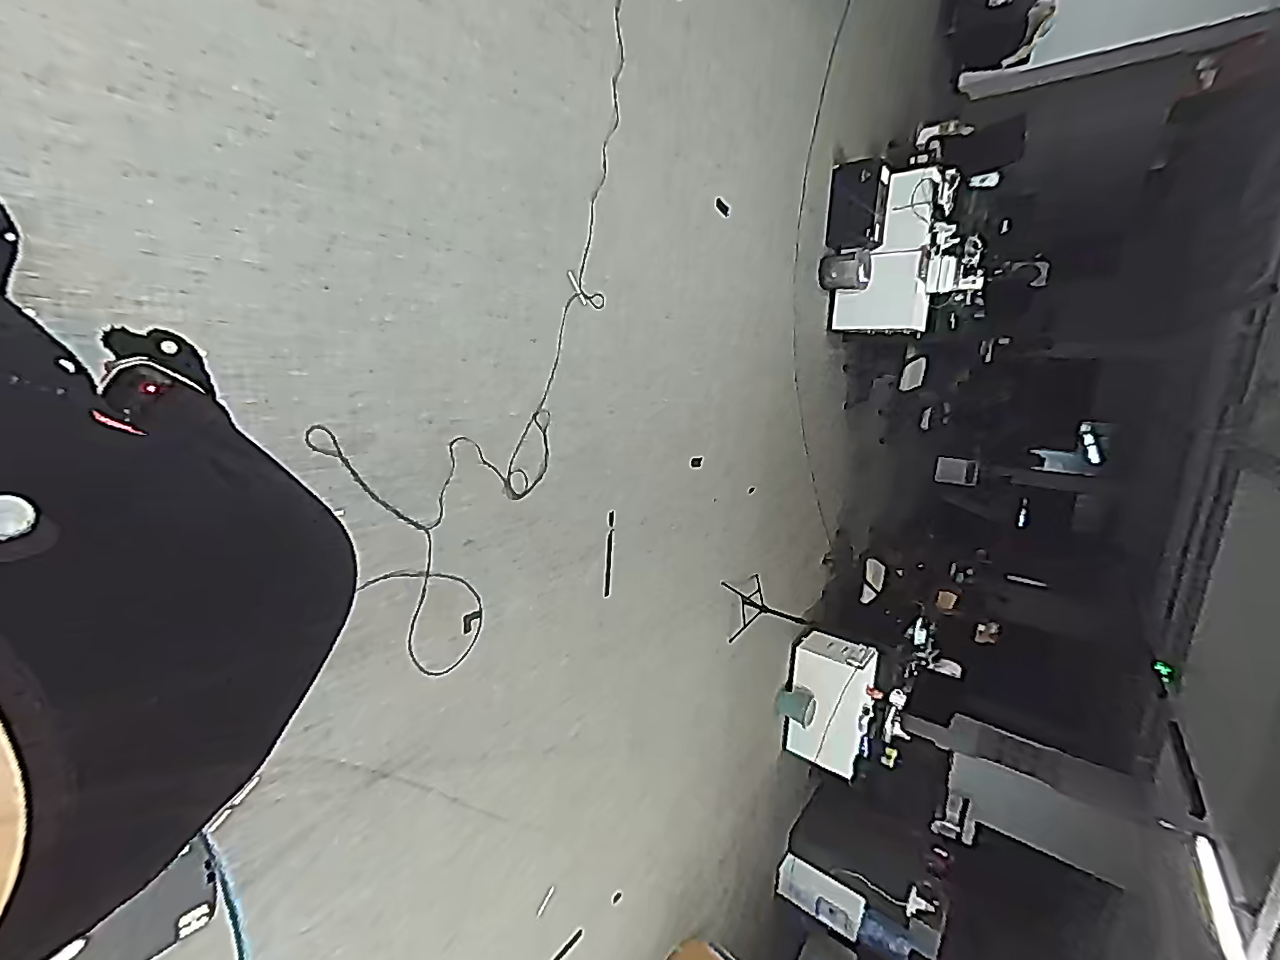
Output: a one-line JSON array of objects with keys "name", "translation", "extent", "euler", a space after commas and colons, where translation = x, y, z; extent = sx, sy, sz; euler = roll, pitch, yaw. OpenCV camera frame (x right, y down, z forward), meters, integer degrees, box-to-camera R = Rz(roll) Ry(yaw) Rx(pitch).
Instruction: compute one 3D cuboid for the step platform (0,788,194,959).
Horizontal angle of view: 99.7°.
[{"name": "step platform", "translation": [-1.246, 0.896, 0.974], "extent": [0.684, 0.204, 0.286], "euler": [-14, 110, -49]}]
